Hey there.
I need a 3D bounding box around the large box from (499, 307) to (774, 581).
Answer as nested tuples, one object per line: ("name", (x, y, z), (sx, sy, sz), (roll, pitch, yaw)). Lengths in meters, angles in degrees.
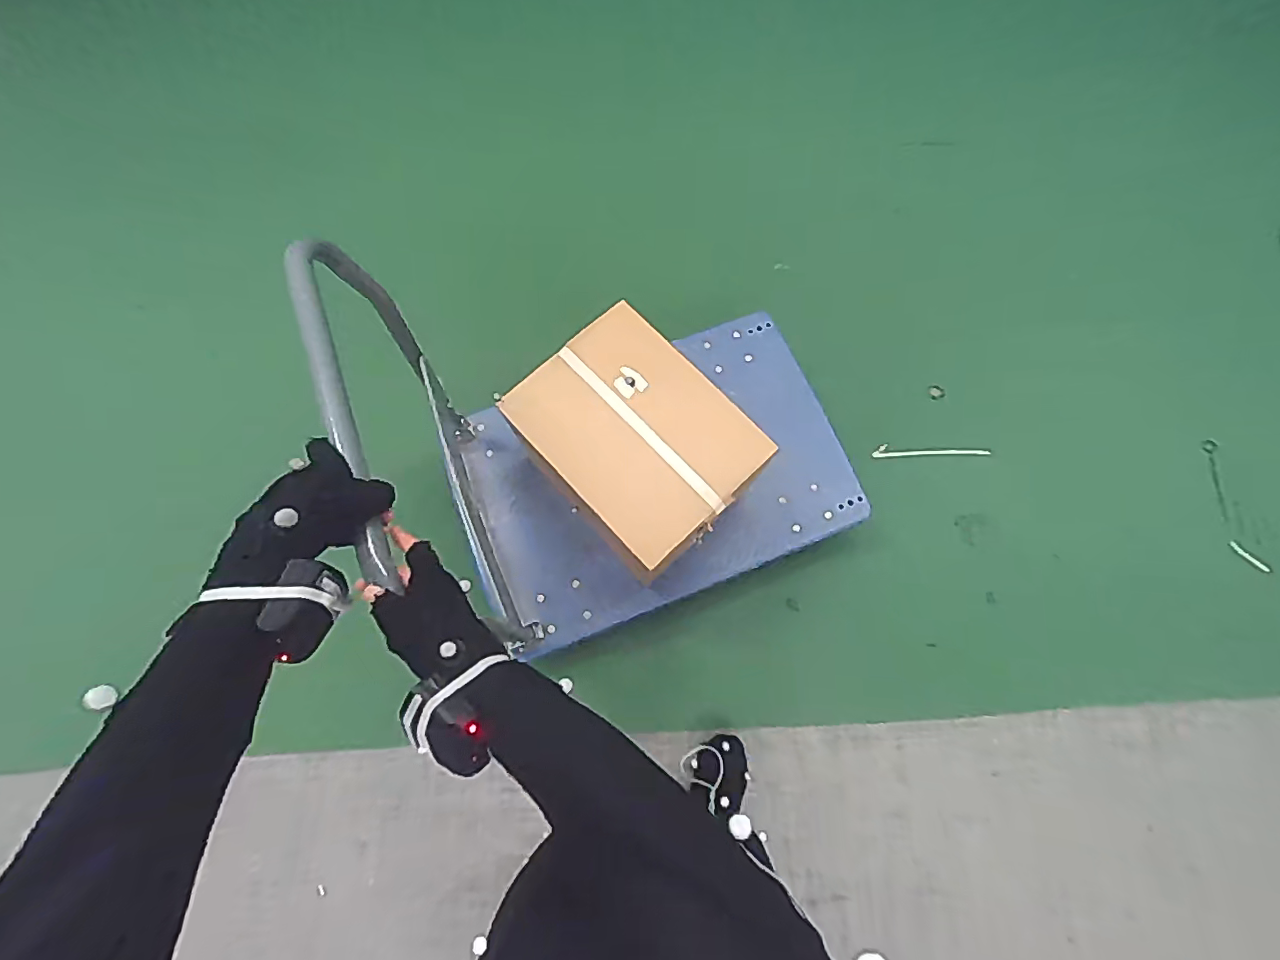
("large box", (-0.006, -0.052, 1.094), (0.320, 0.320, 0.408), (-42, 78, -11))
